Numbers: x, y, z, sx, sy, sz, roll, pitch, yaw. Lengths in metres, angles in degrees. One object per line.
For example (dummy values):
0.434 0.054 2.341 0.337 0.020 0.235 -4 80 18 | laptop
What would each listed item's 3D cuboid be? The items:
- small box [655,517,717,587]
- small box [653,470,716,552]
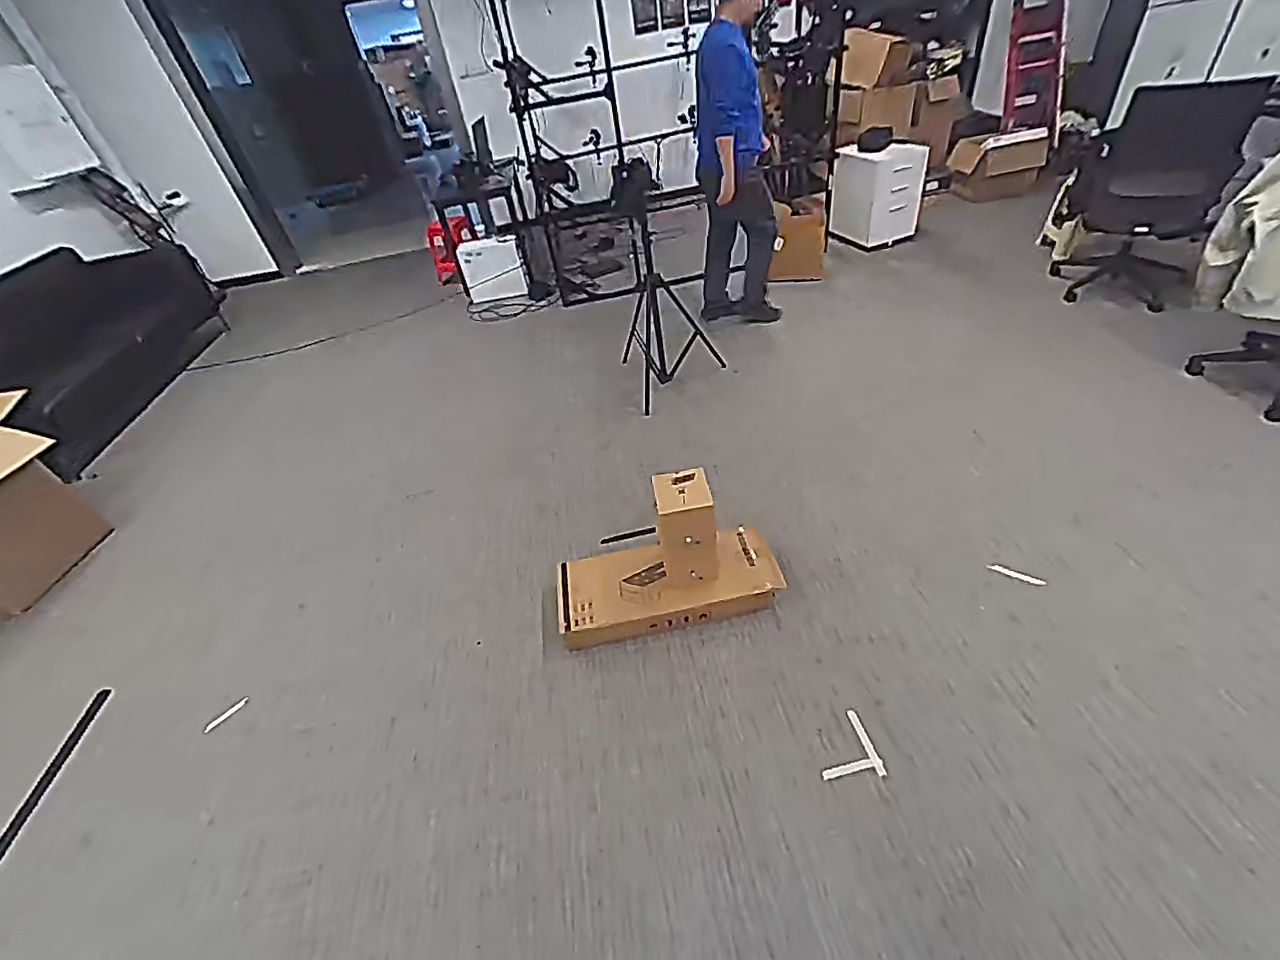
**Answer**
0.152 0.224 1.788 0.168 0.176 0.179 -13 39 -2 | small box
0.137 0.097 1.685 0.168 0.176 0.179 -10 40 1 | small box
